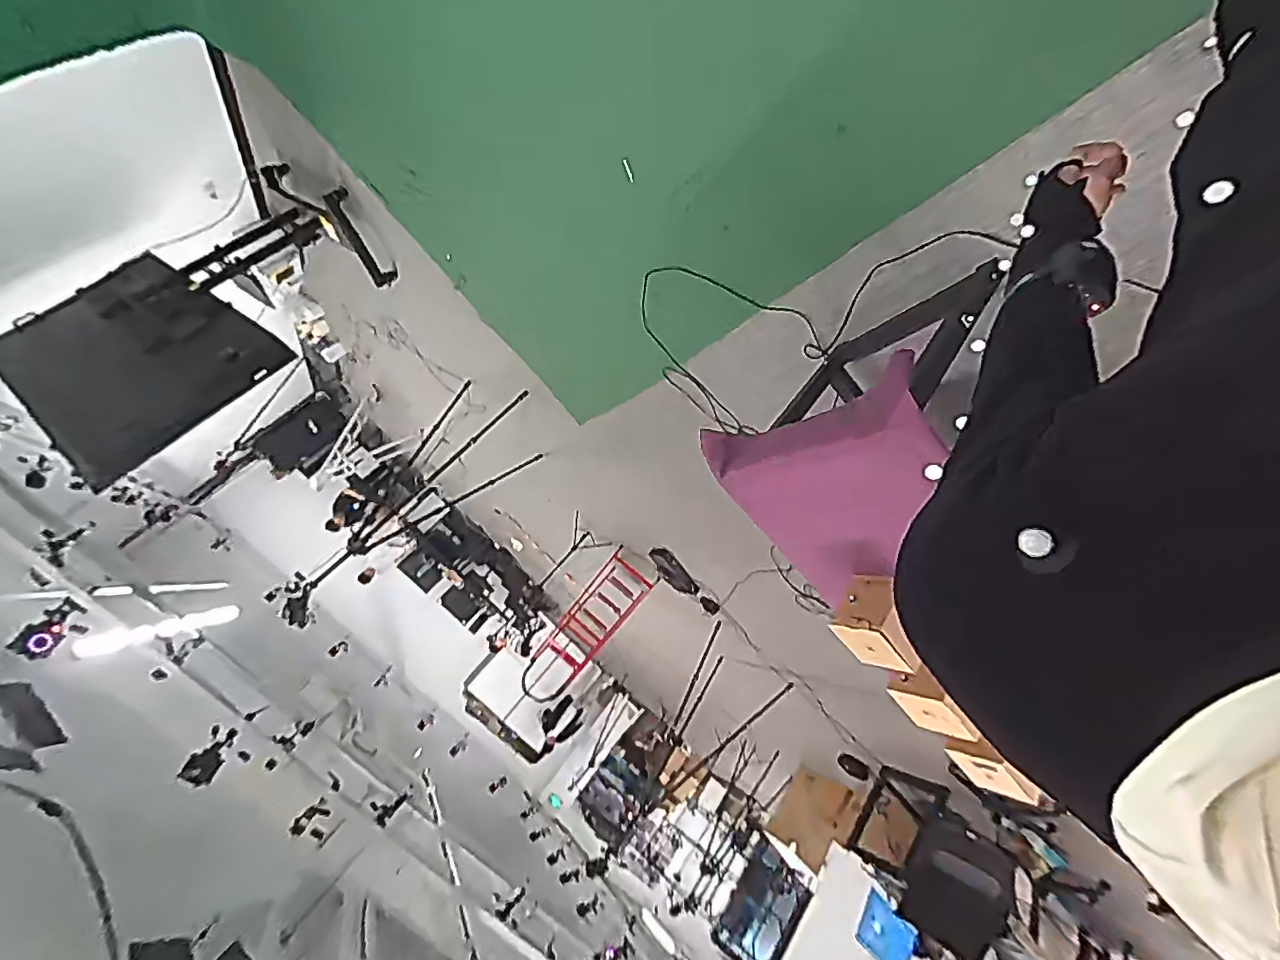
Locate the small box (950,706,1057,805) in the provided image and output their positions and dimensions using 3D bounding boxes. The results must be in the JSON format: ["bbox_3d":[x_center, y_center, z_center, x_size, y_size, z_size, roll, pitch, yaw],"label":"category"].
[{"bbox_3d":[1.010,0.748,1.500,0.179,0.176,0.168,47,155,-12],"label":"small box"}]

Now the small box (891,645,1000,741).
[{"bbox_3d":[0.832,0.567,1.469,0.168,0.176,0.179,48,154,-12],"label":"small box"}]

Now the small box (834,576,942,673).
[{"bbox_3d":[0.652,0.371,1.419,0.179,0.176,0.168,49,155,-15],"label":"small box"}]
